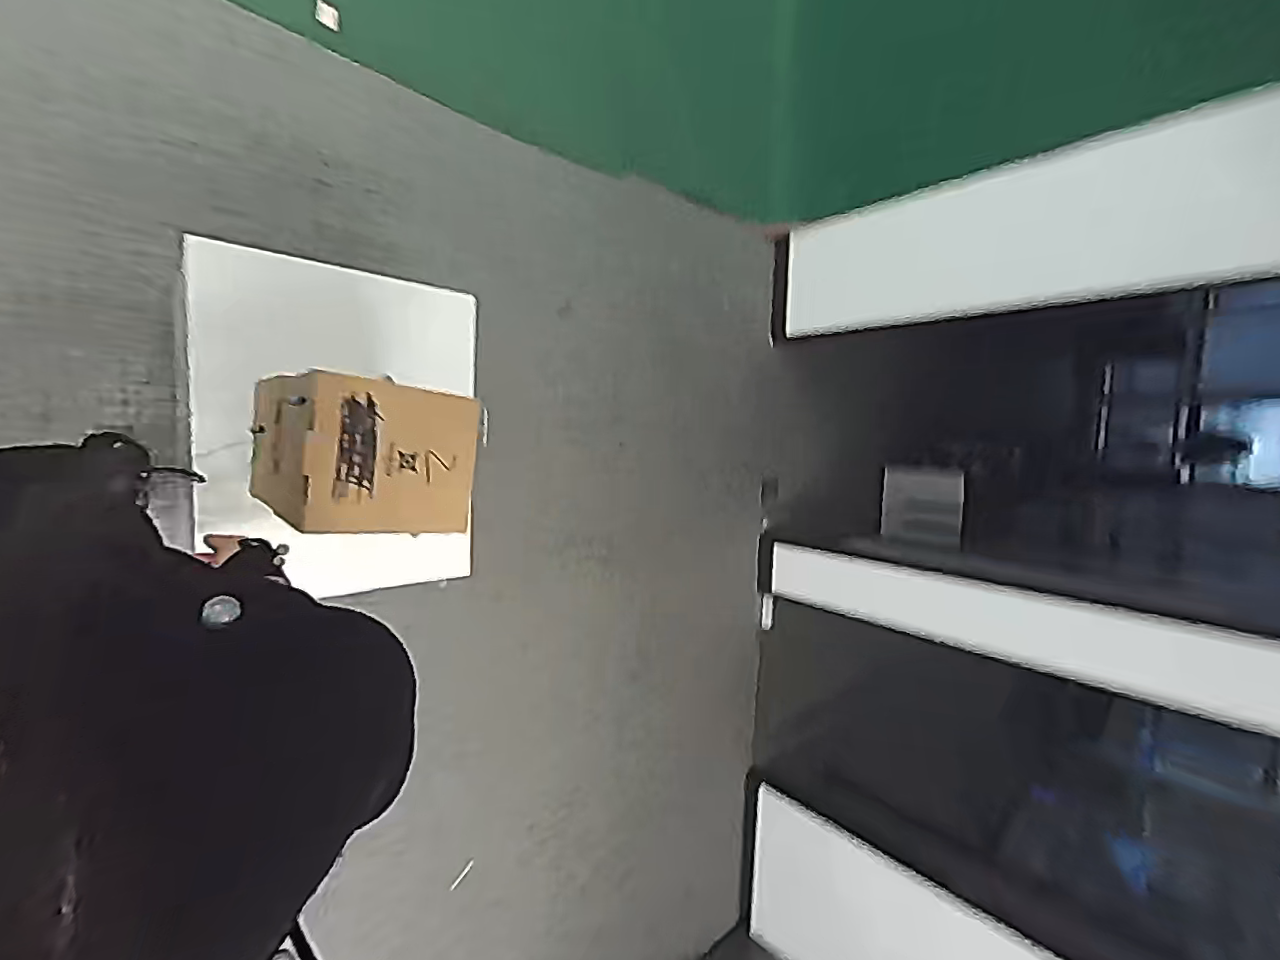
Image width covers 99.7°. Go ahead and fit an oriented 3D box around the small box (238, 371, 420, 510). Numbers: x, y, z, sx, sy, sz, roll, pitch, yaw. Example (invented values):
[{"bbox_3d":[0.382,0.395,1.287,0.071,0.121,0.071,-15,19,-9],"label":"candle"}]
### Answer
[{"bbox_3d":[-0.429,-0.051,0.745,0.179,0.176,0.168,3,93,-44],"label":"small box"}]
